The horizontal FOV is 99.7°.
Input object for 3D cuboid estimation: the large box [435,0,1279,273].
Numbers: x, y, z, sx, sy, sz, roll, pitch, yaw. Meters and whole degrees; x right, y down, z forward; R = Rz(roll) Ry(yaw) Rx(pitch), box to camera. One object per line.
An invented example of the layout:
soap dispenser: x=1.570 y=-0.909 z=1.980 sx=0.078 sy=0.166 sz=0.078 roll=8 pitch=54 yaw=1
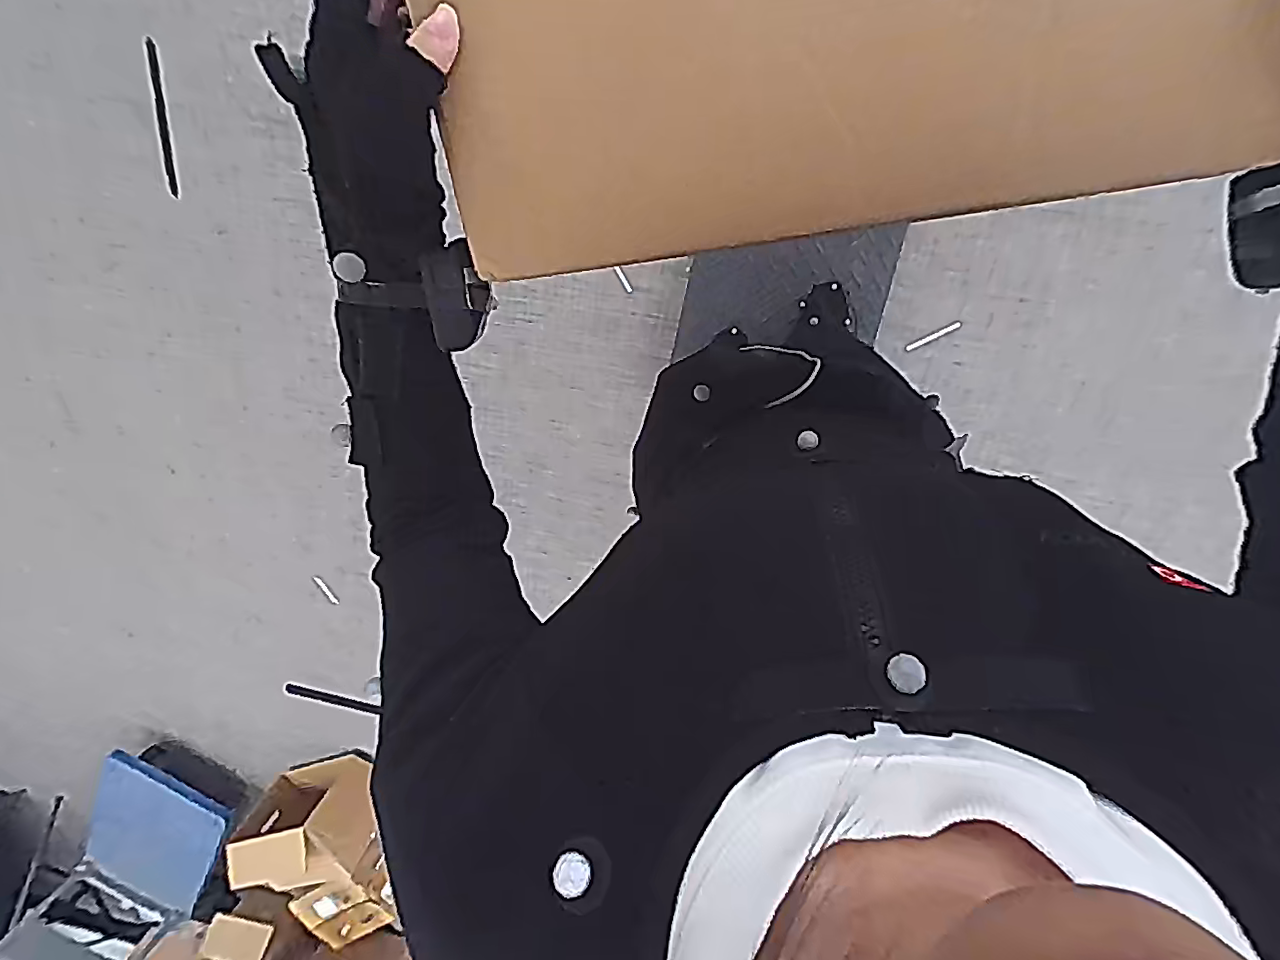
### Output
large box: x=0.099 y=-0.343 z=0.370 sx=0.408 sy=0.320 sz=0.320 roll=-5 pitch=115 yaw=8
